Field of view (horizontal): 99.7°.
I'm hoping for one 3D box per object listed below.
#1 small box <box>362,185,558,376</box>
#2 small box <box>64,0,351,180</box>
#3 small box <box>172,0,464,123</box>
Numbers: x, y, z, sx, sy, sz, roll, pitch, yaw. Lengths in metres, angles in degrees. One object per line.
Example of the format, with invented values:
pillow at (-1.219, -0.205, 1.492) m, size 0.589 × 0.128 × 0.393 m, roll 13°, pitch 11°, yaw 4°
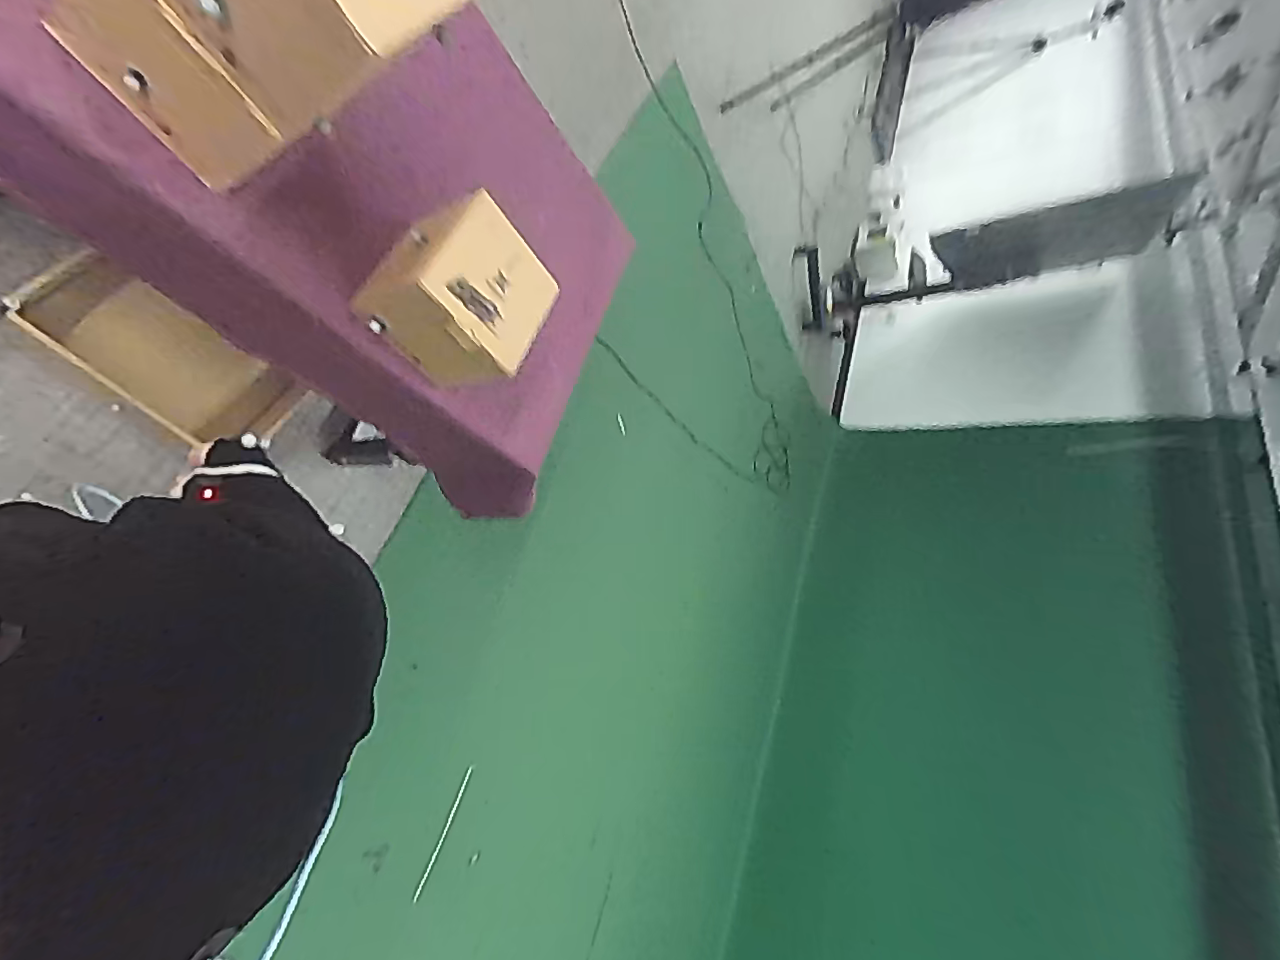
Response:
small box at (-0.253, -0.265, 0.759) m, size 0.168 × 0.176 × 0.179 m, roll 47°, pitch 54°, yaw -44°
small box at (-0.410, -0.442, 0.542) m, size 0.168 × 0.176 × 0.179 m, roll 52°, pitch 53°, yaw -41°
small box at (-0.274, -0.443, 0.448) m, size 0.168 × 0.176 × 0.179 m, roll 53°, pitch 51°, yaw -40°
